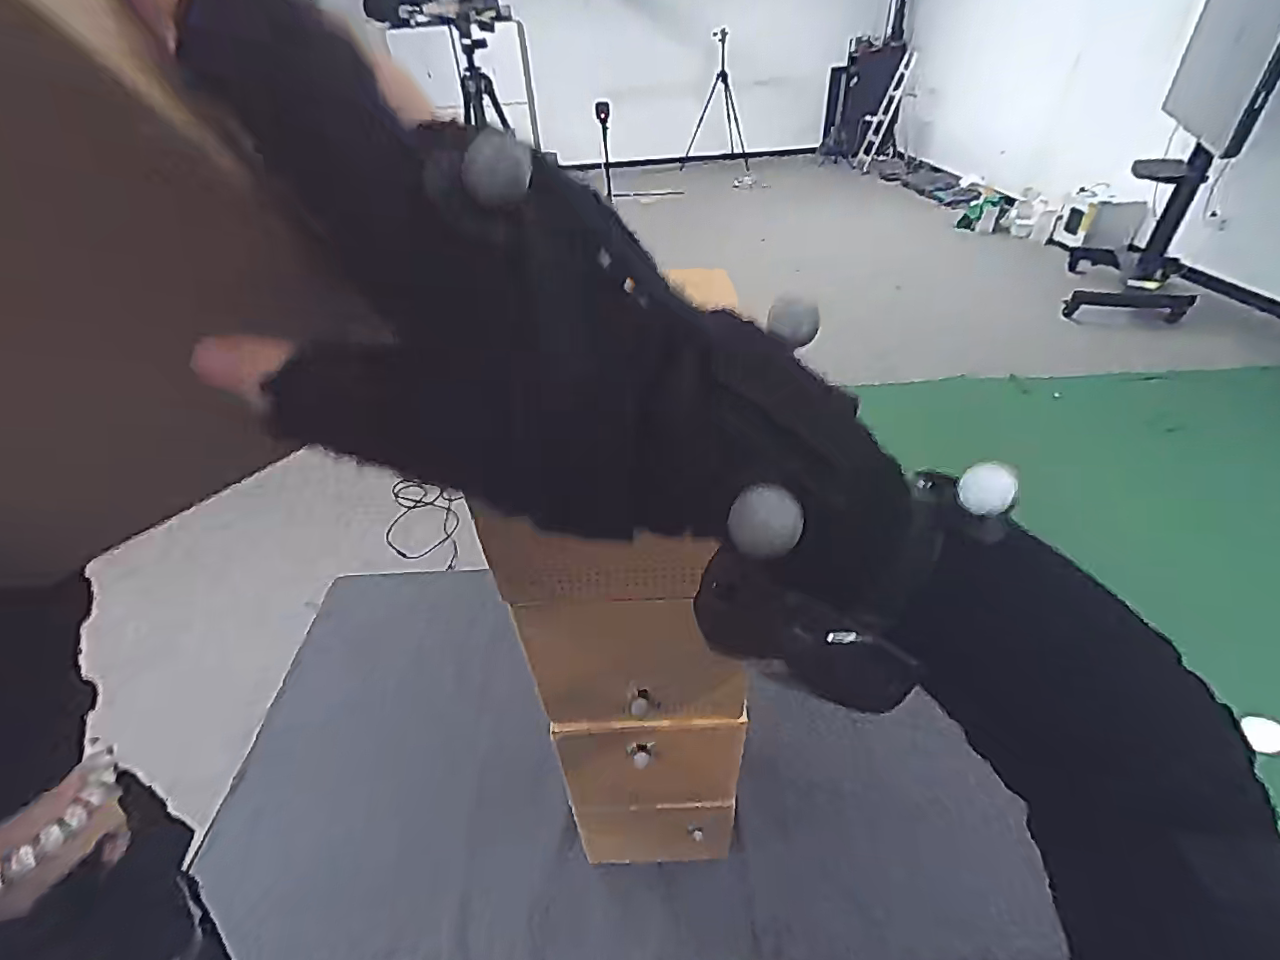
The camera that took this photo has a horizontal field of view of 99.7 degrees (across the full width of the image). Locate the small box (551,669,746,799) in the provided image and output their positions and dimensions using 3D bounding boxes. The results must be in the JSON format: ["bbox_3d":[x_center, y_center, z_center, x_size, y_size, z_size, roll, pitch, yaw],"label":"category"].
[{"bbox_3d":[0.009,0.226,0.589,0.179,0.176,0.168,-4,39,1],"label":"small box"}]

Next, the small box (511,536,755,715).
[{"bbox_3d":[-0.002,0.095,0.492,0.179,0.176,0.168,-2,38,2],"label":"small box"}]

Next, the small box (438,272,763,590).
[{"bbox_3d":[-0.017,-0.035,0.392,0.179,0.176,0.168,-3,39,1],"label":"small box"}]
